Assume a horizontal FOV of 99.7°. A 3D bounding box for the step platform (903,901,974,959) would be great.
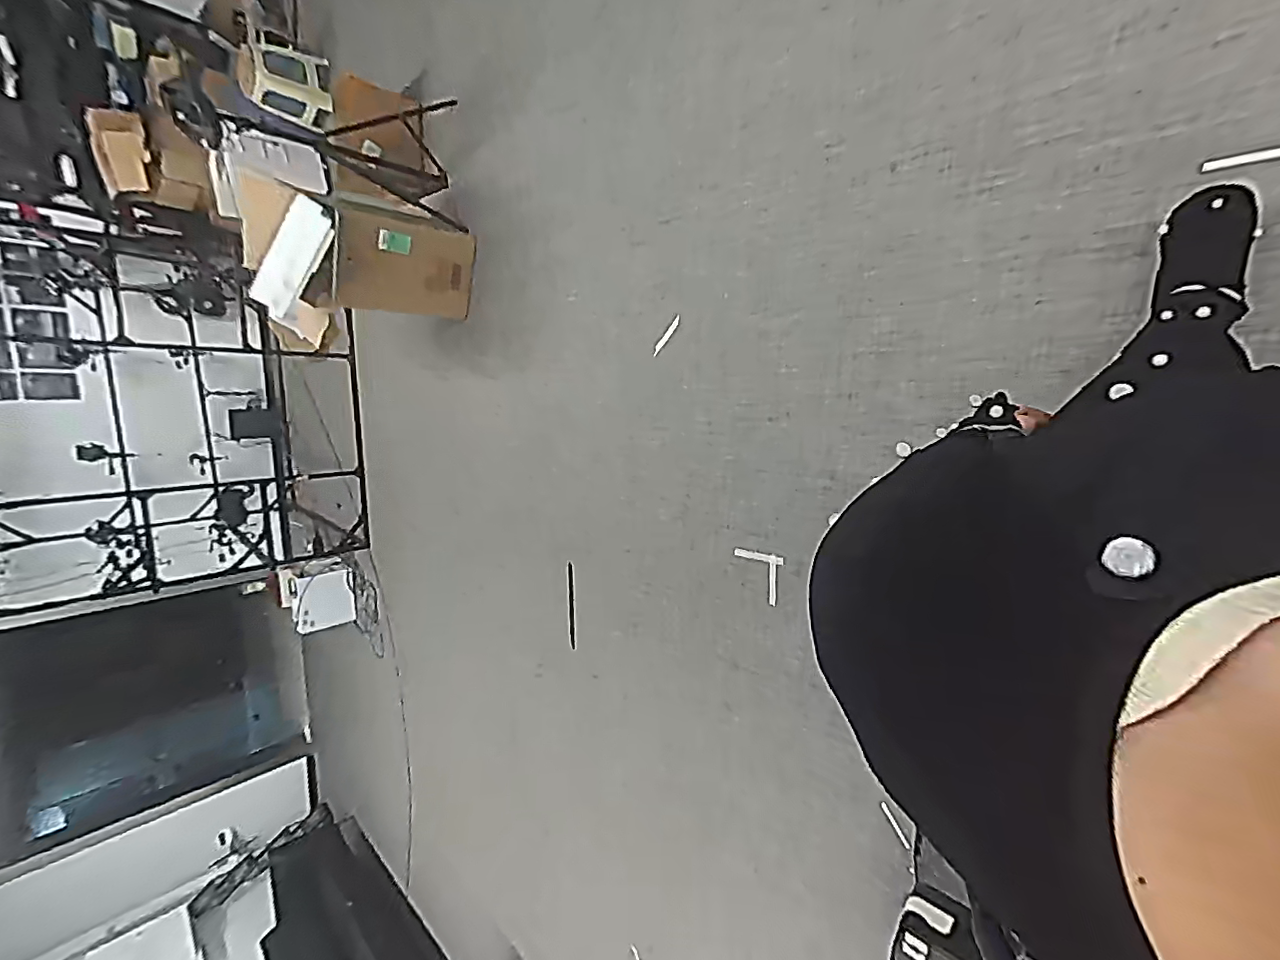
[{"bbox_3d":[0.892,1.257,1.104,0.684,0.204,0.286,16,106,45],"label":"step platform"}]
